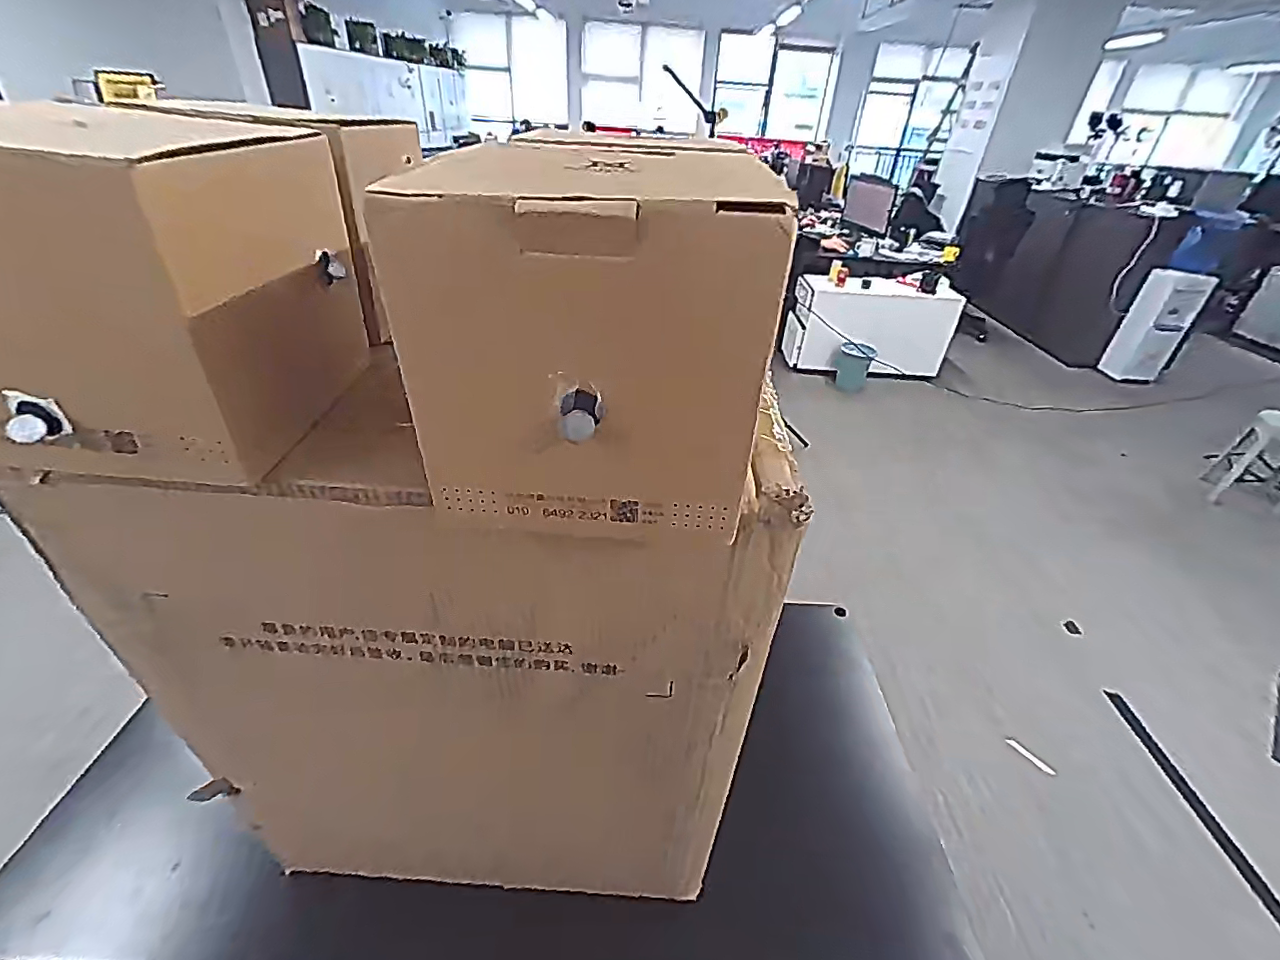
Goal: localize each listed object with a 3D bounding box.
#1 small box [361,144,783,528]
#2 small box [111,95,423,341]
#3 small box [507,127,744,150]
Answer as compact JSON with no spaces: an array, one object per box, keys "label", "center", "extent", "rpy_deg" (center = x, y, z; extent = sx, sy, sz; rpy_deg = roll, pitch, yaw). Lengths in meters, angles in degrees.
[{"label":"small box","center":[-0.022,-0.089,0.316],"extent":[0.168,0.176,0.179],"rpy_deg":[4,36,2]},{"label":"small box","center":[-0.306,-0.241,0.501],"extent":[0.168,0.176,0.179],"rpy_deg":[3,33,-2]},{"label":"small box","center":[-0.014,-0.206,0.479],"extent":[0.168,0.176,0.179],"rpy_deg":[1,34,-2]}]
